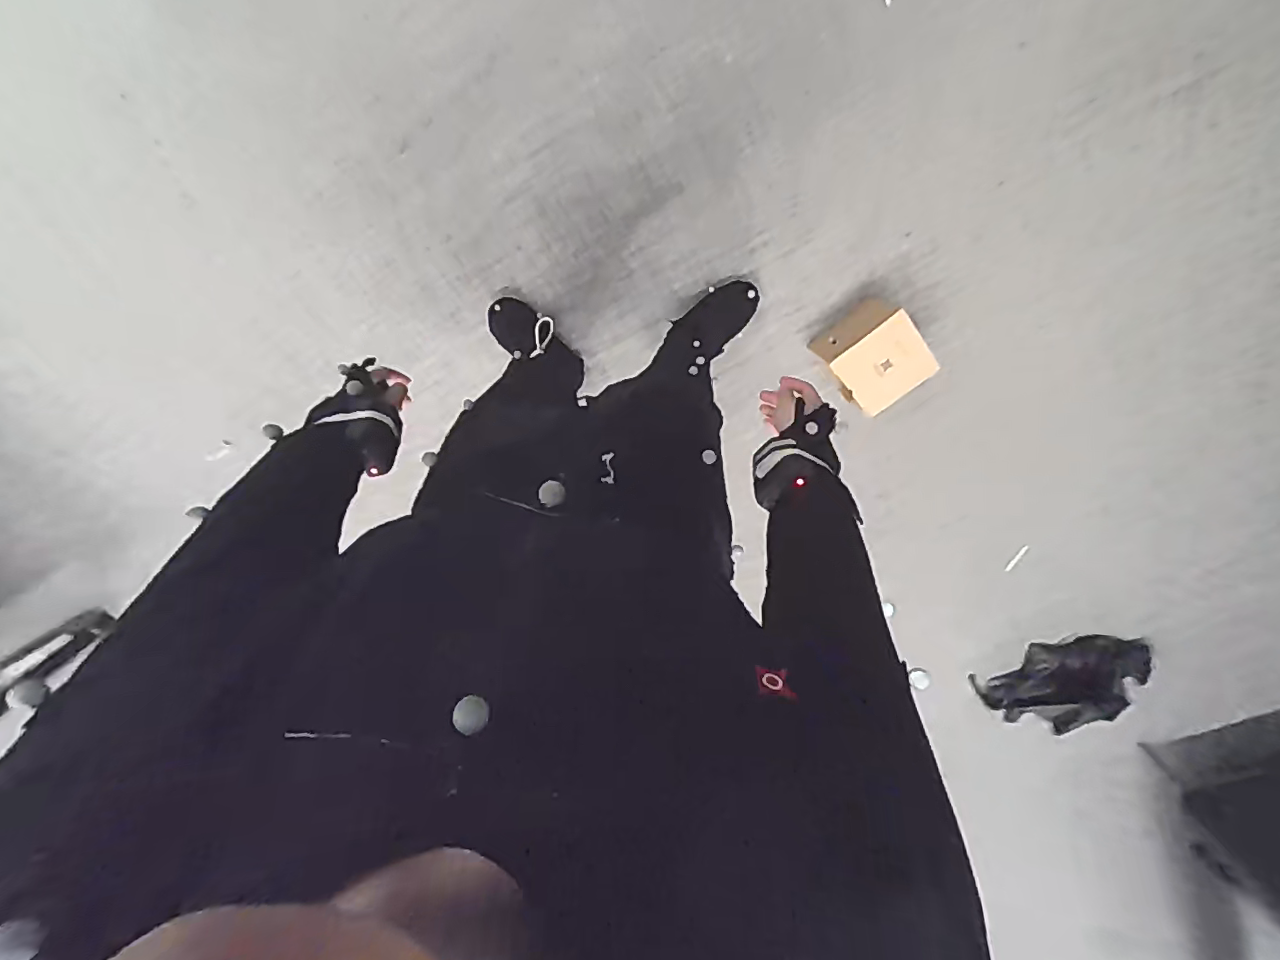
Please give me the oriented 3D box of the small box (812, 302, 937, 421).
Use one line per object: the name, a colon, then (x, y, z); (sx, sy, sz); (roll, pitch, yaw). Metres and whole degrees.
small box: (0.503, -0.266, 1.194); (0.179, 0.176, 0.168); (-39, 111, 15)
